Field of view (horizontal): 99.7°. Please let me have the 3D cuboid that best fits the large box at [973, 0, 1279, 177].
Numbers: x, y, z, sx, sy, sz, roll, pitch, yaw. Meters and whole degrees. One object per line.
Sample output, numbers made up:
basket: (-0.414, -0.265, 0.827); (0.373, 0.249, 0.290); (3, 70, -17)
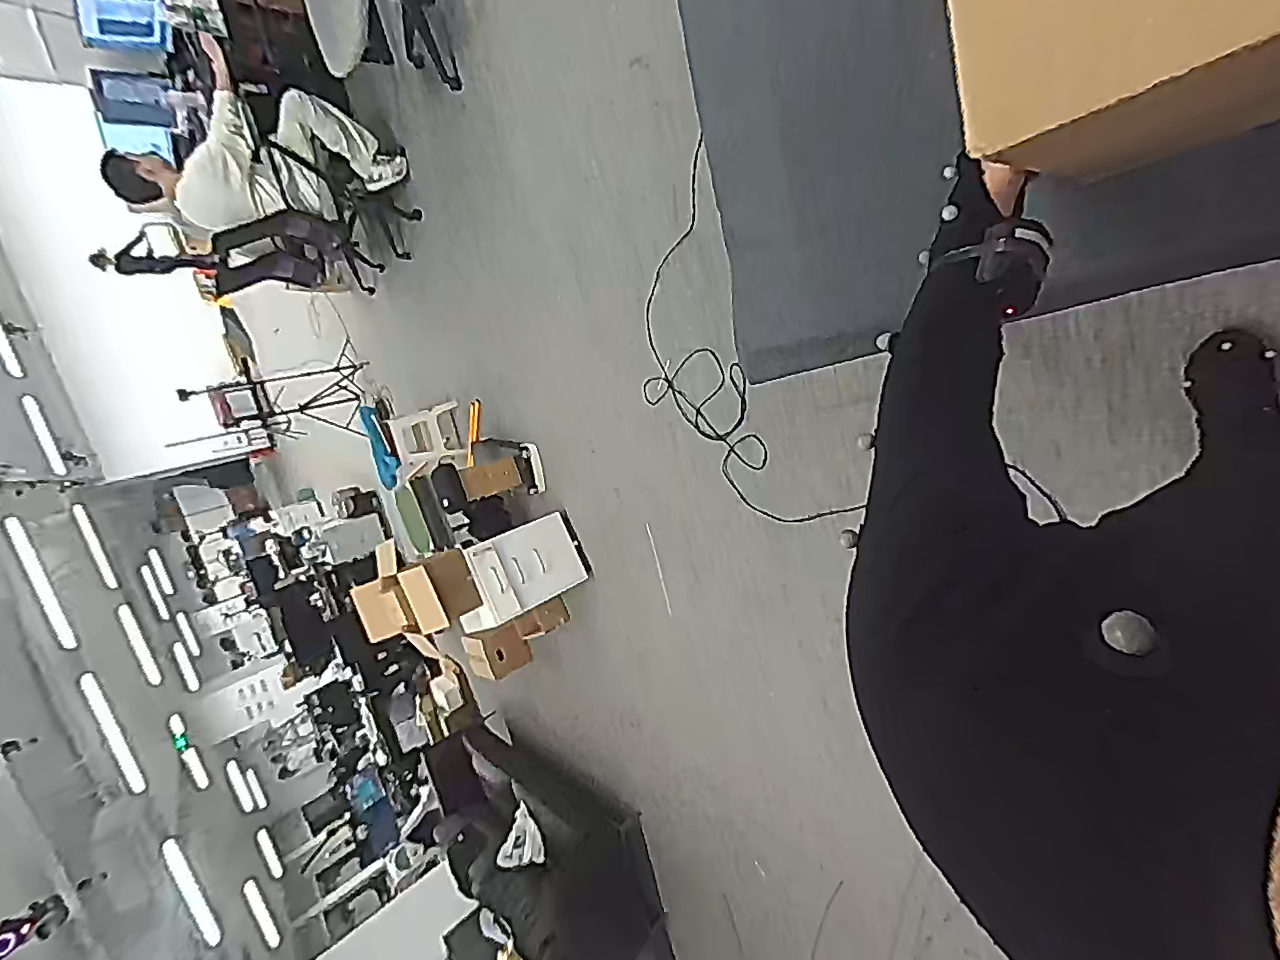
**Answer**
large box: (0.427, -0.410, 0.272); (0.408, 0.320, 0.320); (-2, 105, 50)
